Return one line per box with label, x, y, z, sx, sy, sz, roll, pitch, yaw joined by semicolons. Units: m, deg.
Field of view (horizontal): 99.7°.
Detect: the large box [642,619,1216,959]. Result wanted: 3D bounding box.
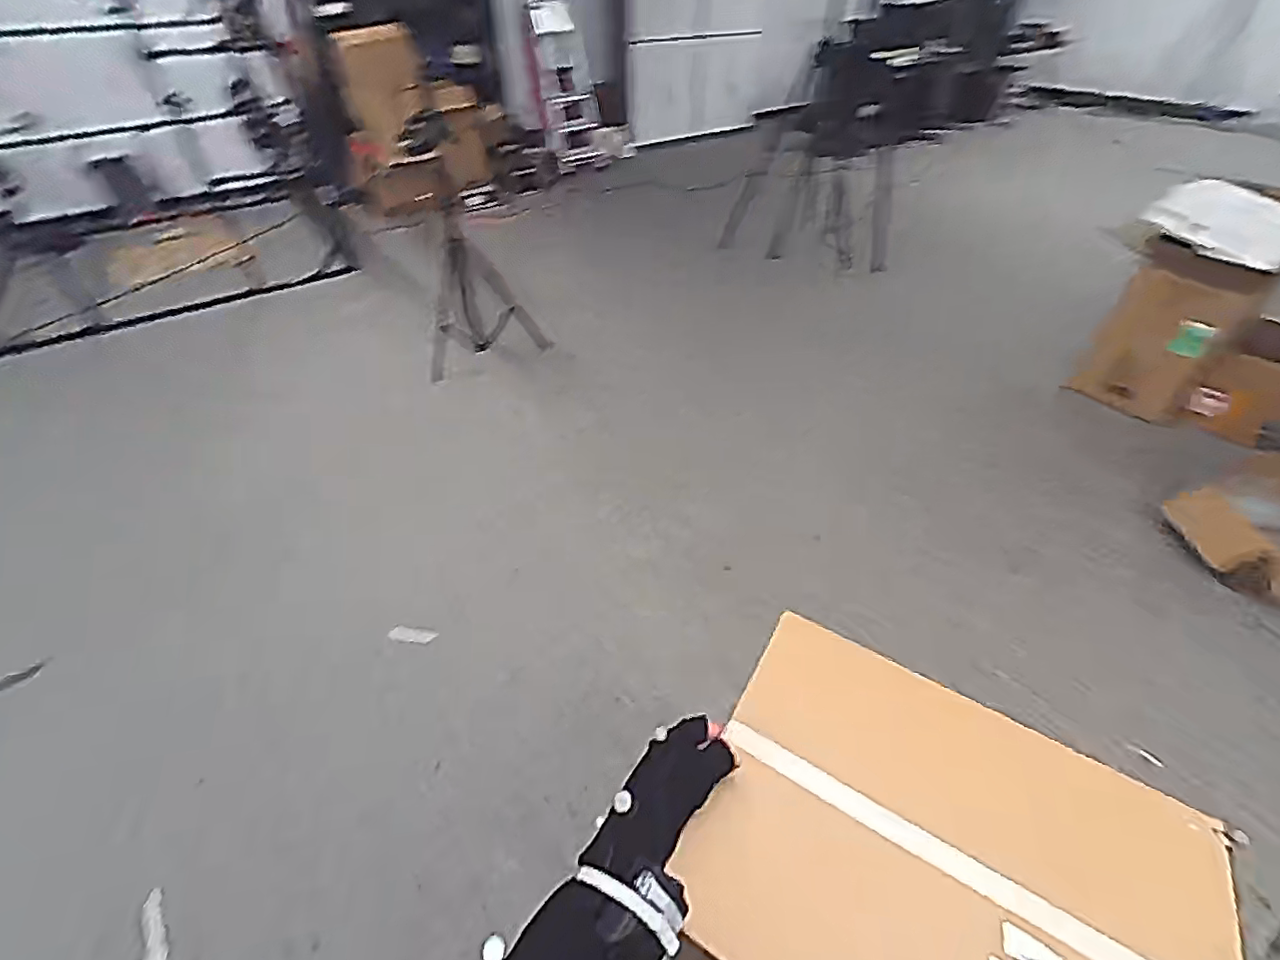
large box;0.248;0.425;0.568;0.408;0.320;0.320;24;50;21
